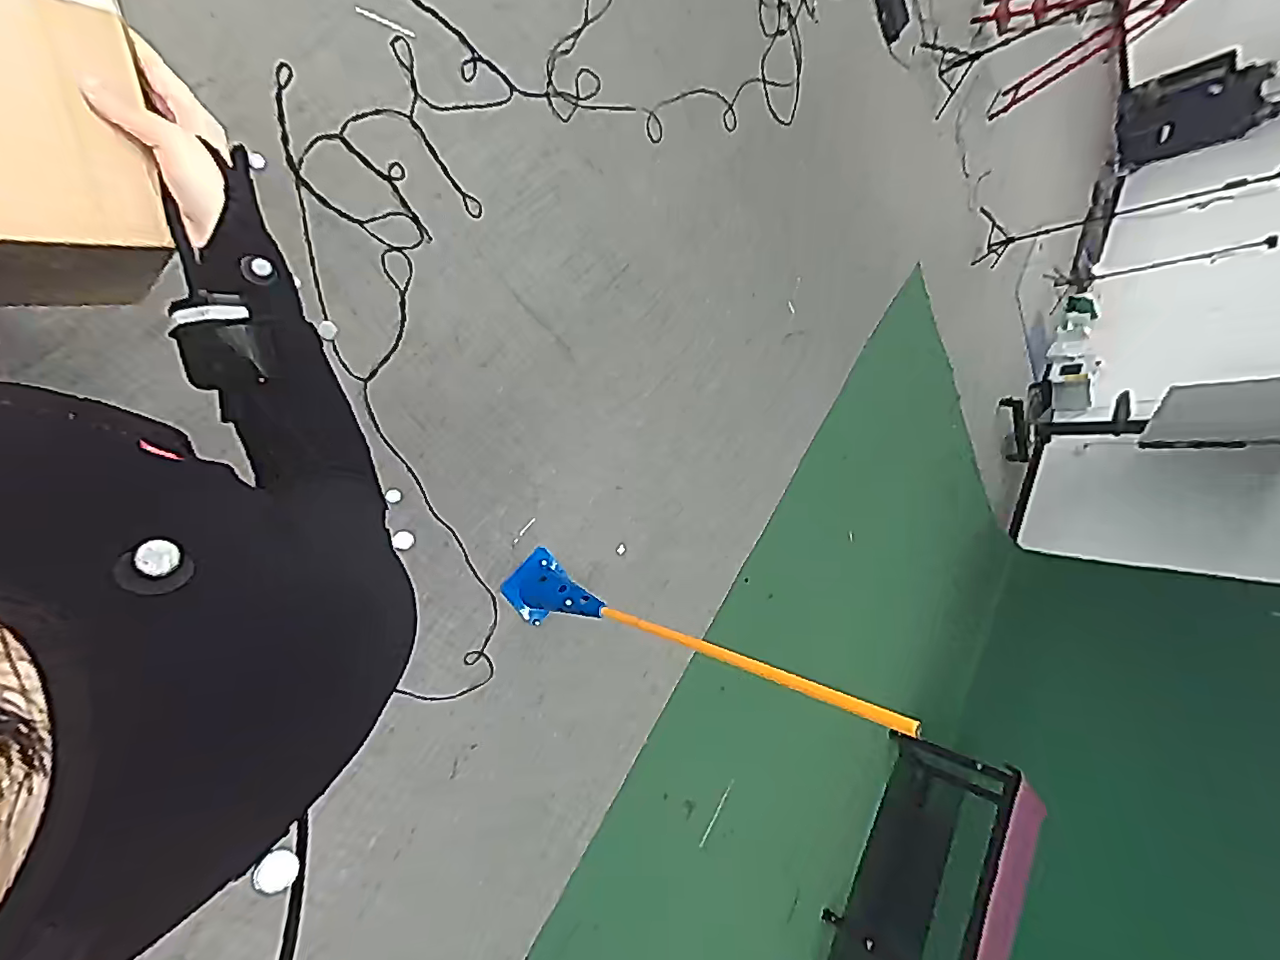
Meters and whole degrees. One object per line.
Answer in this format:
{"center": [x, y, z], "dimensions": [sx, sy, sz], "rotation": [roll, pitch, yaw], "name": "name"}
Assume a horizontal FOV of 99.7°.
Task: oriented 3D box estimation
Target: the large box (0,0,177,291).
{"center": [-0.602, -0.296, 0.327], "dimensions": [0.408, 0.320, 0.320], "rotation": [-20, 110, -45], "name": "large box"}

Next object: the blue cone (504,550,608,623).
{"center": [-0.230, 0.353, 1.640], "dimensions": [0.193, 0.380, 0.192], "rotation": [-47, 122, -29], "name": "blue cone"}
